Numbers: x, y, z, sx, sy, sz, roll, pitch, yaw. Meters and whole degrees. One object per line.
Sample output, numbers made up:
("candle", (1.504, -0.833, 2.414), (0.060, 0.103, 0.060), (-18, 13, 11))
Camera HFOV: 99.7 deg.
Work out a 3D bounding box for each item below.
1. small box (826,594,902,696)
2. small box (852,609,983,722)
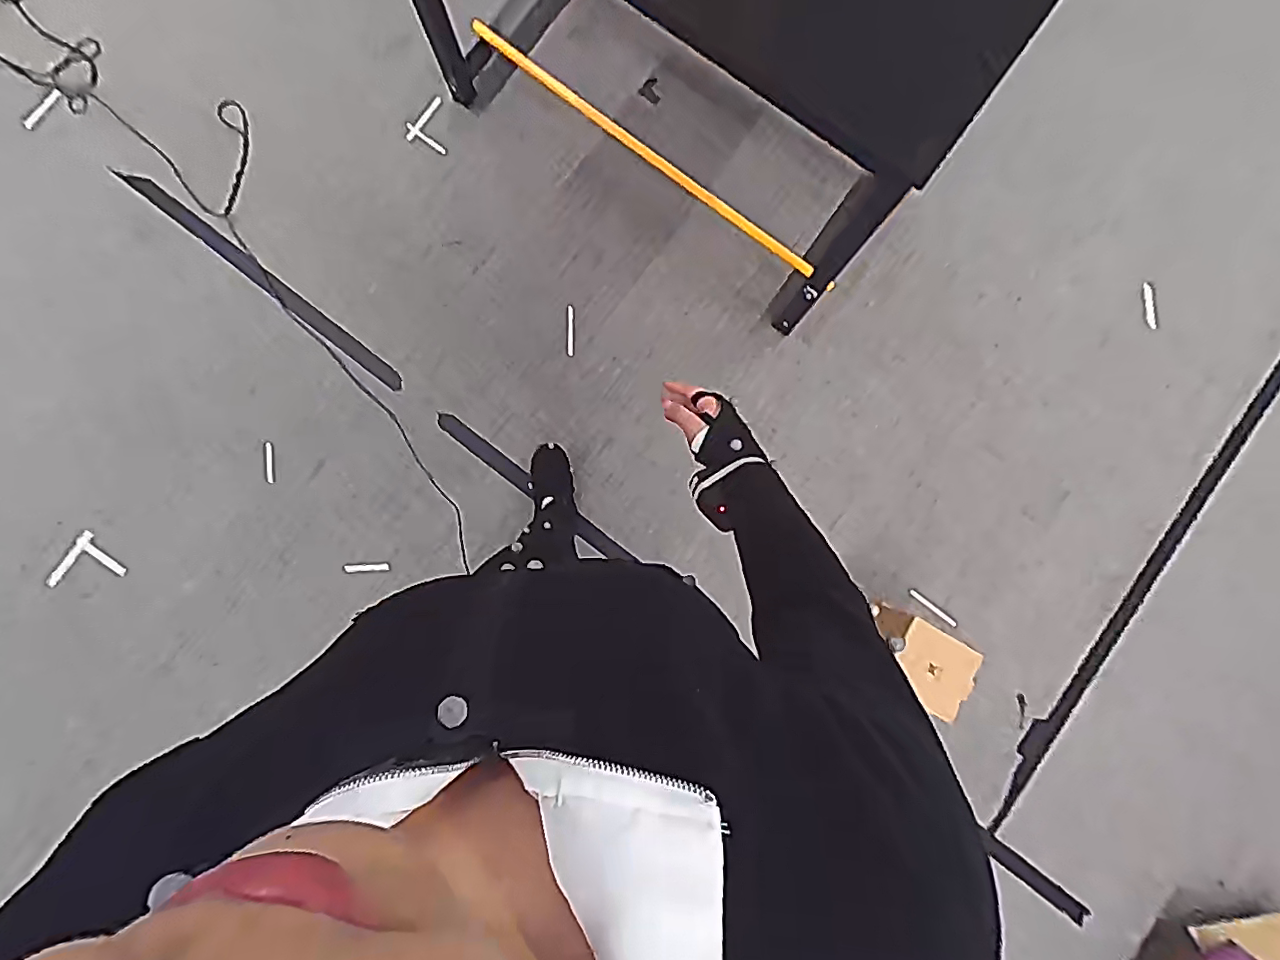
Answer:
("small box", (0.613, 0.416, 1.402), (0.168, 0.176, 0.179), (33, 87, 2))
("small box", (0.625, 0.412, 1.240), (0.179, 0.176, 0.168), (30, 85, 2))
